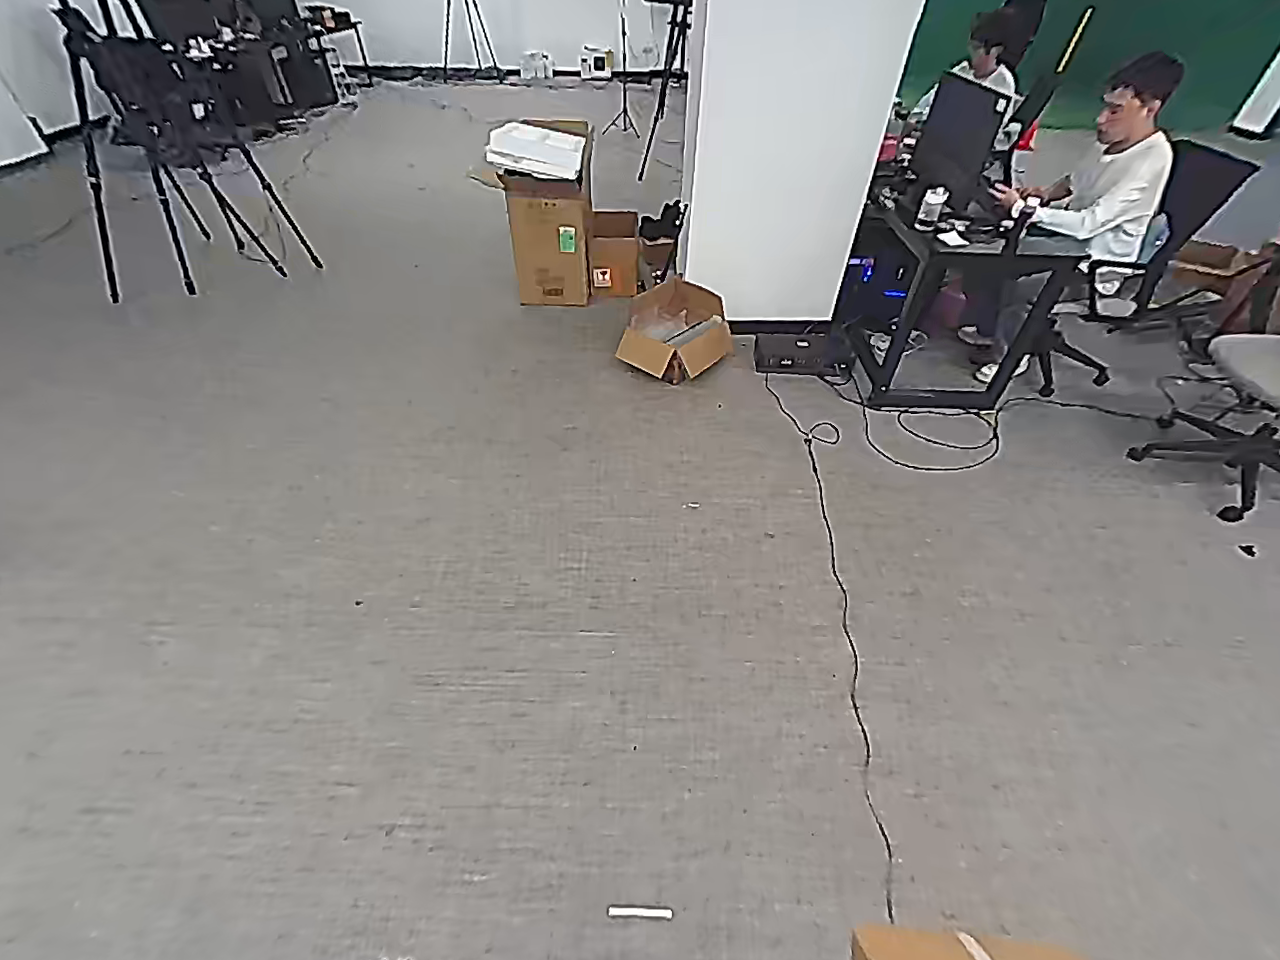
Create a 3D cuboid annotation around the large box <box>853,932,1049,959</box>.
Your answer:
[{"bbox_3d":[0.437,0.784,0.555,0.320,0.408,0.320,6,81,2],"label":"large box"}]
